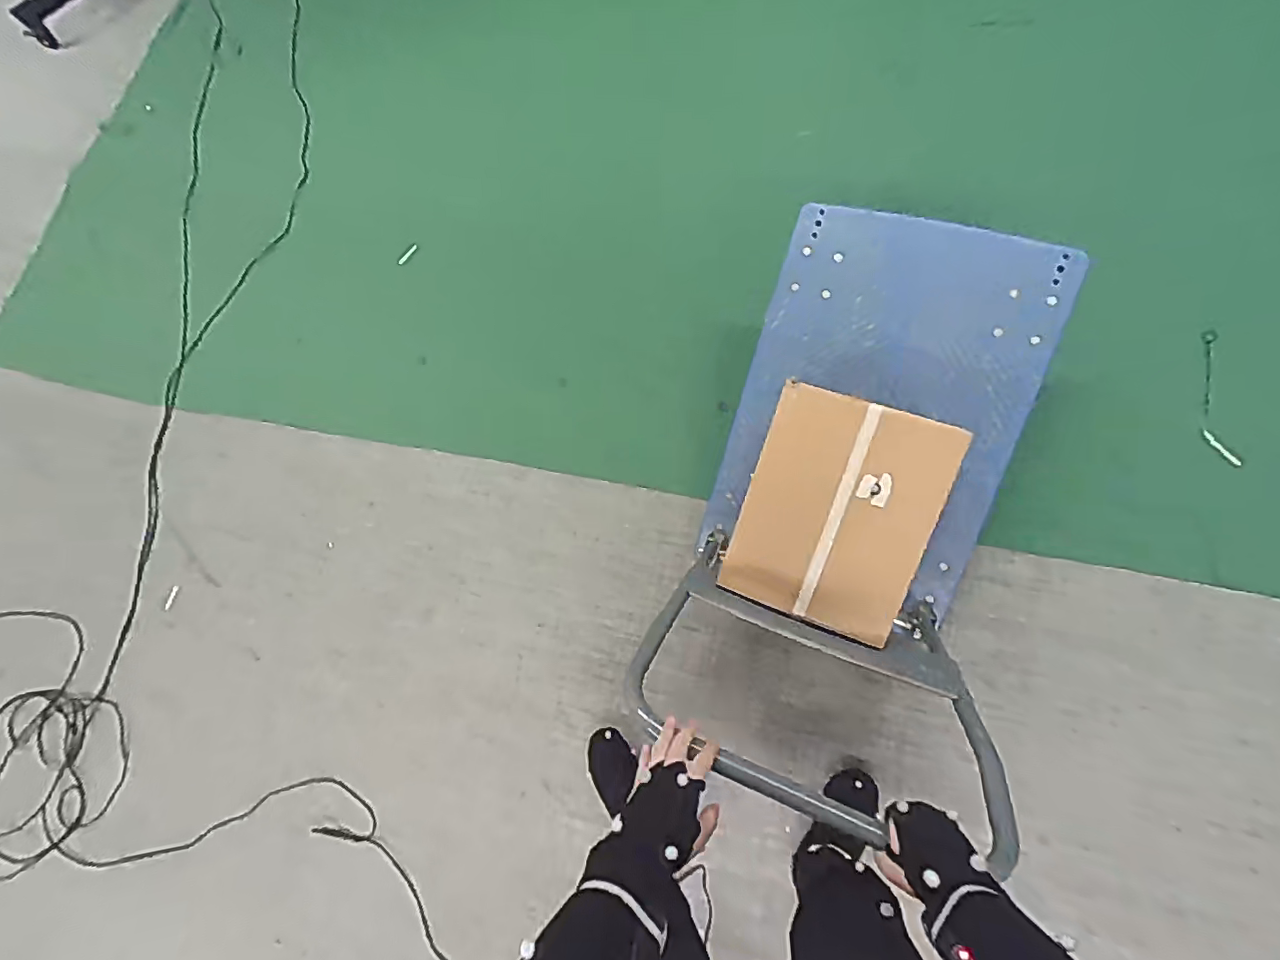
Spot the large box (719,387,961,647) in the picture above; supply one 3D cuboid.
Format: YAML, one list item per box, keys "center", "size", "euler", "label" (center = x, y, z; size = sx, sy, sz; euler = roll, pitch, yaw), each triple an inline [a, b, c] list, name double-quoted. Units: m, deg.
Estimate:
- center: [0.388, 0.057, 1.110]
  size: [0.320, 0.320, 0.408]
  euler: [20, 99, 14]
  label: "large box"
